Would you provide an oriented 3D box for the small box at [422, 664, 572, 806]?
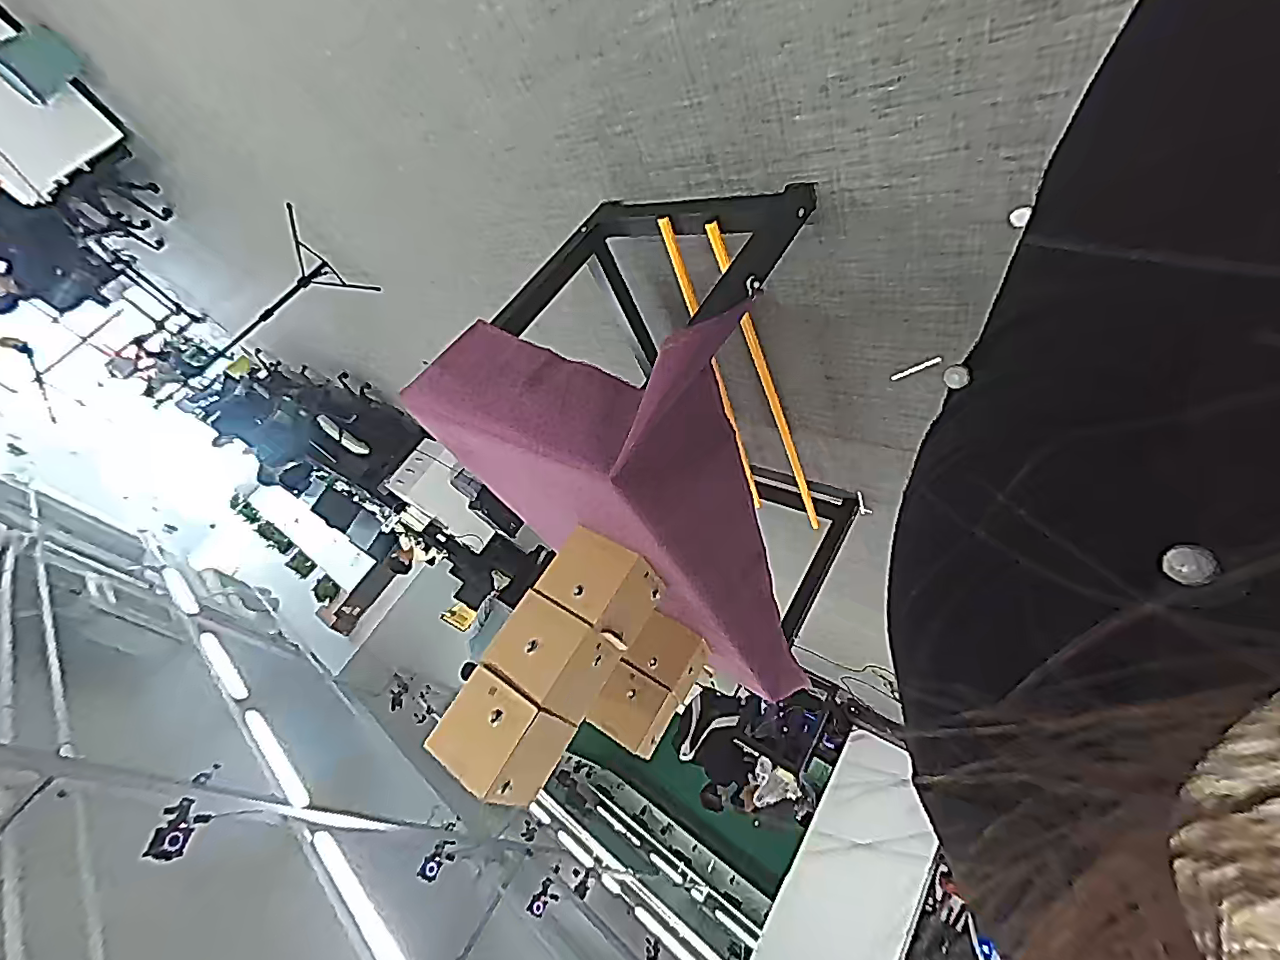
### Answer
[{"bbox_3d":[-0.256,0.474,1.012,0.168,0.176,0.179,21,156,32],"label":"small box"}]

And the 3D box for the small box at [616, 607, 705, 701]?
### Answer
[{"bbox_3d":[0.067,0.475,1.486,0.179,0.176,0.168,24,157,27],"label":"small box"}]

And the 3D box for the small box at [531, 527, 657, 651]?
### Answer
[{"bbox_3d":[-0.085,0.222,1.128,0.179,0.176,0.168,21,157,35],"label":"small box"}]

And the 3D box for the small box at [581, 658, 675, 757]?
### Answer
[{"bbox_3d":[-0.023,0.599,1.427,0.168,0.176,0.179,24,157,25],"label":"small box"}]
